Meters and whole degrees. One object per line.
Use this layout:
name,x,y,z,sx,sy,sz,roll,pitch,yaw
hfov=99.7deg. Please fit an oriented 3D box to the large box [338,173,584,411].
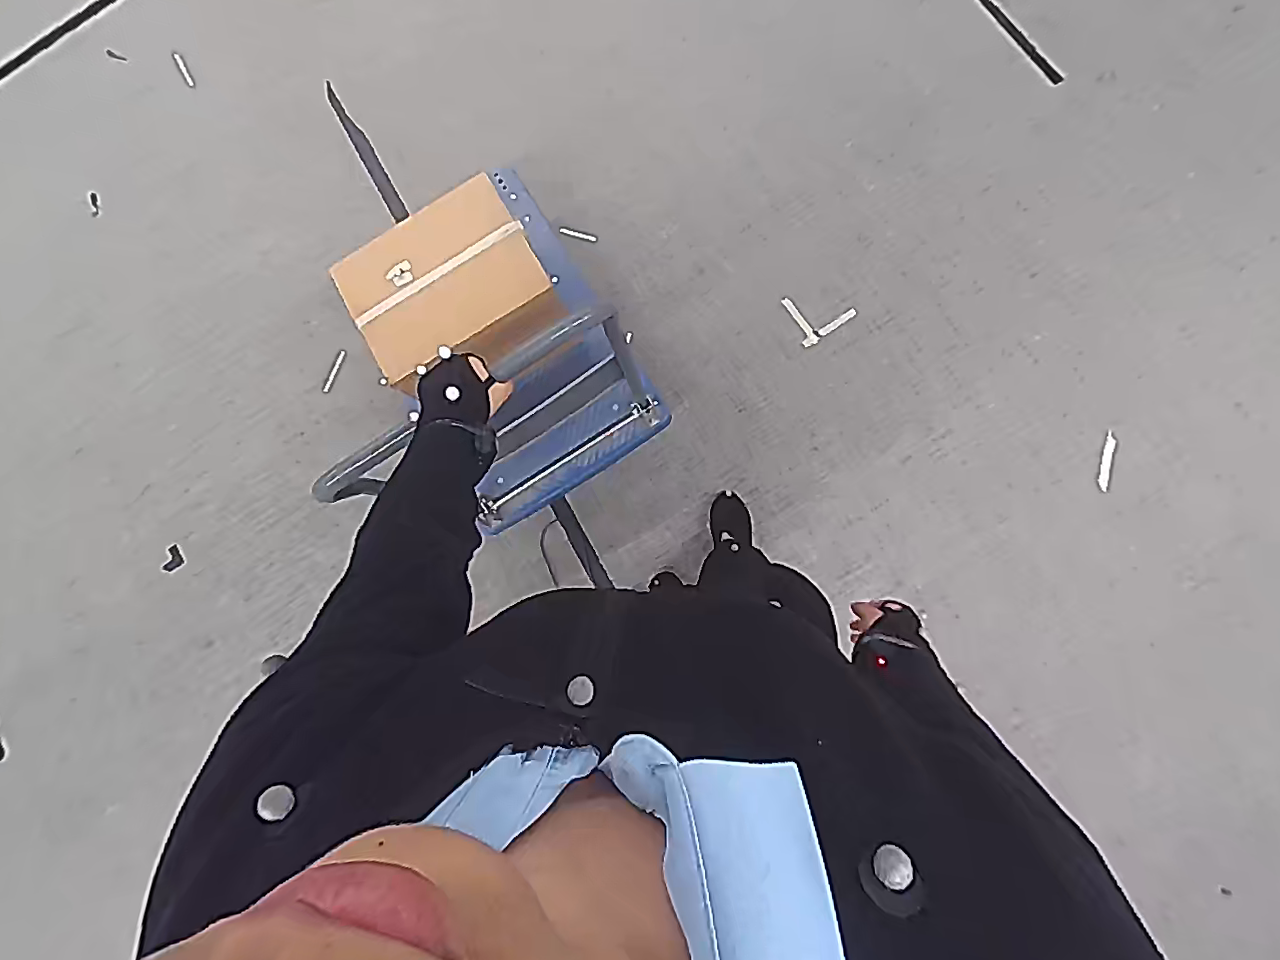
large box,-0.405,-0.422,1.304,0.408,0.320,0.320,-31,80,3
